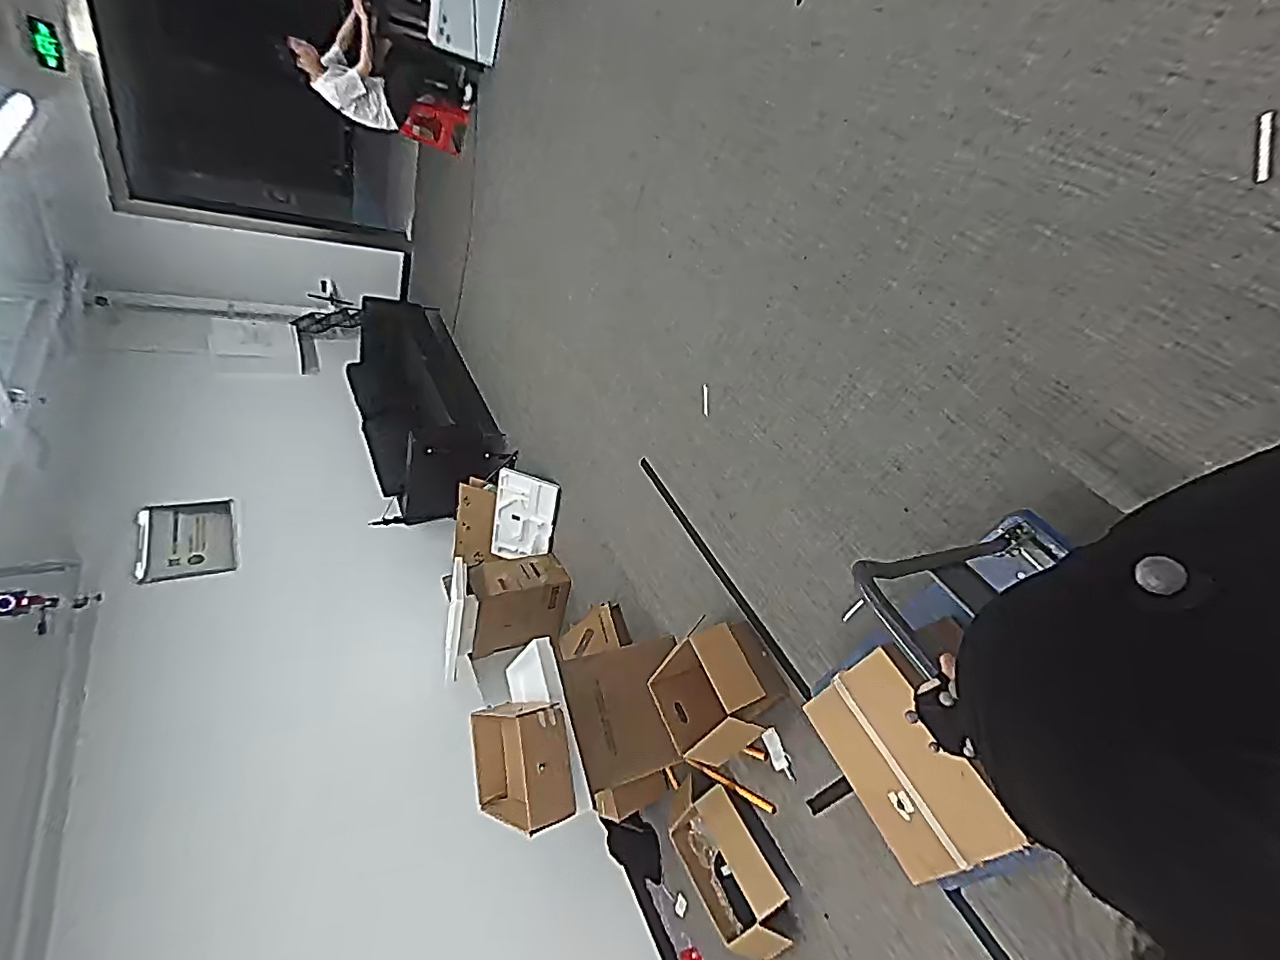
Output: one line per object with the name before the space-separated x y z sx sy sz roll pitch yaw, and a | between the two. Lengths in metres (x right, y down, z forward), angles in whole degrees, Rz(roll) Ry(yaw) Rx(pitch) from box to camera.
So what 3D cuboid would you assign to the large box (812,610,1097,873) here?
large box | 0.692 0.571 1.235 0.408 0.320 0.320 58 139 33
